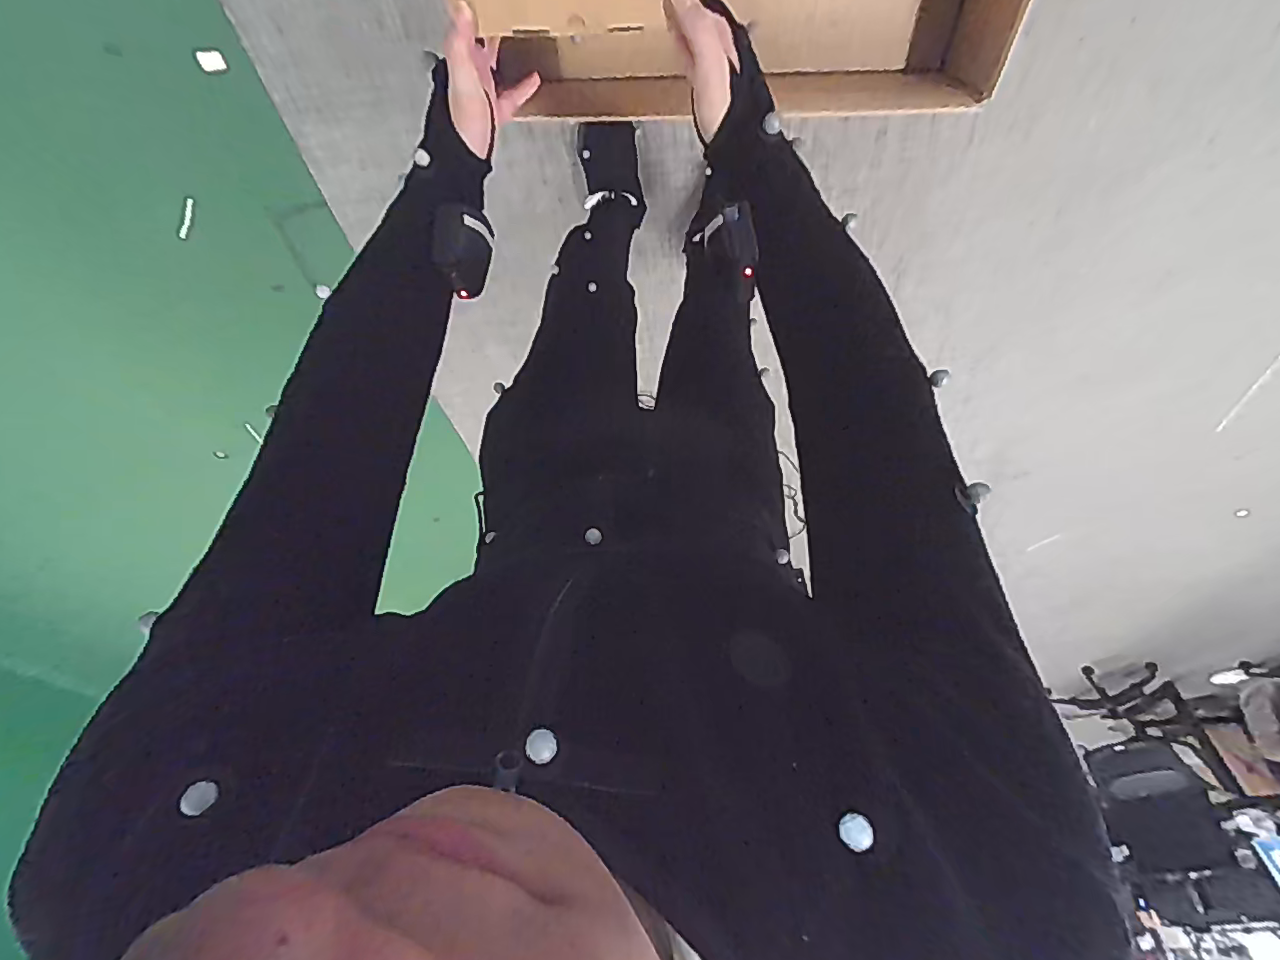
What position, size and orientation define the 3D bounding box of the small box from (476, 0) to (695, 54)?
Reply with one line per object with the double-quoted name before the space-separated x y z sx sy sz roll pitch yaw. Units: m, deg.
"small box" -0.041 -0.451 0.420 0.168 0.176 0.179 0 134 0
